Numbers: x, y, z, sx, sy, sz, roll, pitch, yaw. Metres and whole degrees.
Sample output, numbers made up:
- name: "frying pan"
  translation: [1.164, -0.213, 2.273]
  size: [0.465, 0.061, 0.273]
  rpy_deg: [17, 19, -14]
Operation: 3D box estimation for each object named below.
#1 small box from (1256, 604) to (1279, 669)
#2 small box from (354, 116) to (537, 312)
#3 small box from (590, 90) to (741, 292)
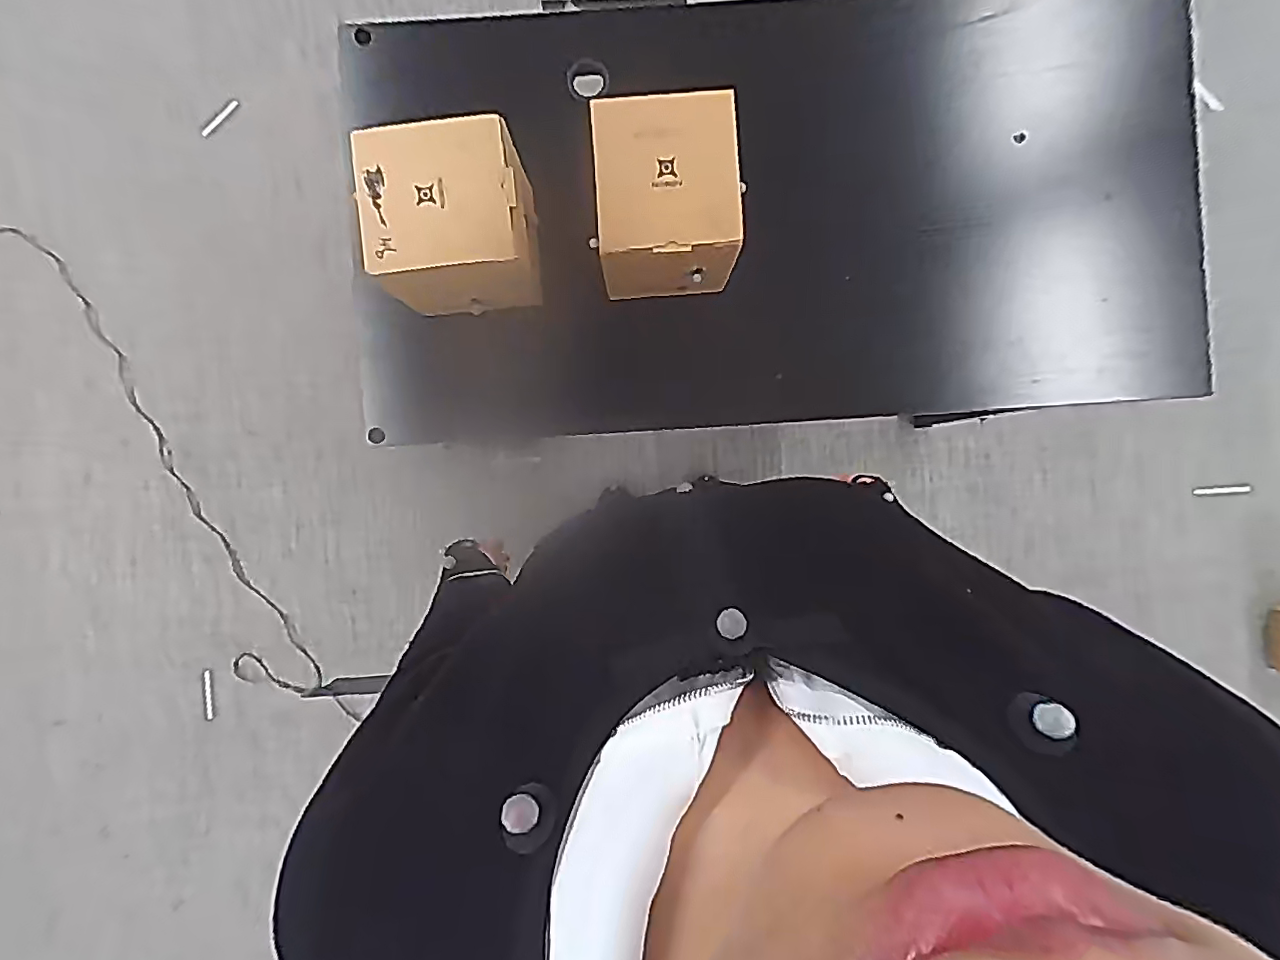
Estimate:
- name: "small box"
  translation: [1.801, 0.427, 1.430]
  size: [0.168, 0.176, 0.179]
  rpy_deg: [-4, 91, 1]
- name: "small box"
  translation: [-0.232, -0.325, 0.691]
  size: [0.179, 0.176, 0.168]
  rpy_deg: [-6, 90, -1]
- name: "small box"
  translation: [0.029, -0.352, 0.693]
  size: [0.168, 0.176, 0.179]
  rpy_deg: [-4, 90, -1]
